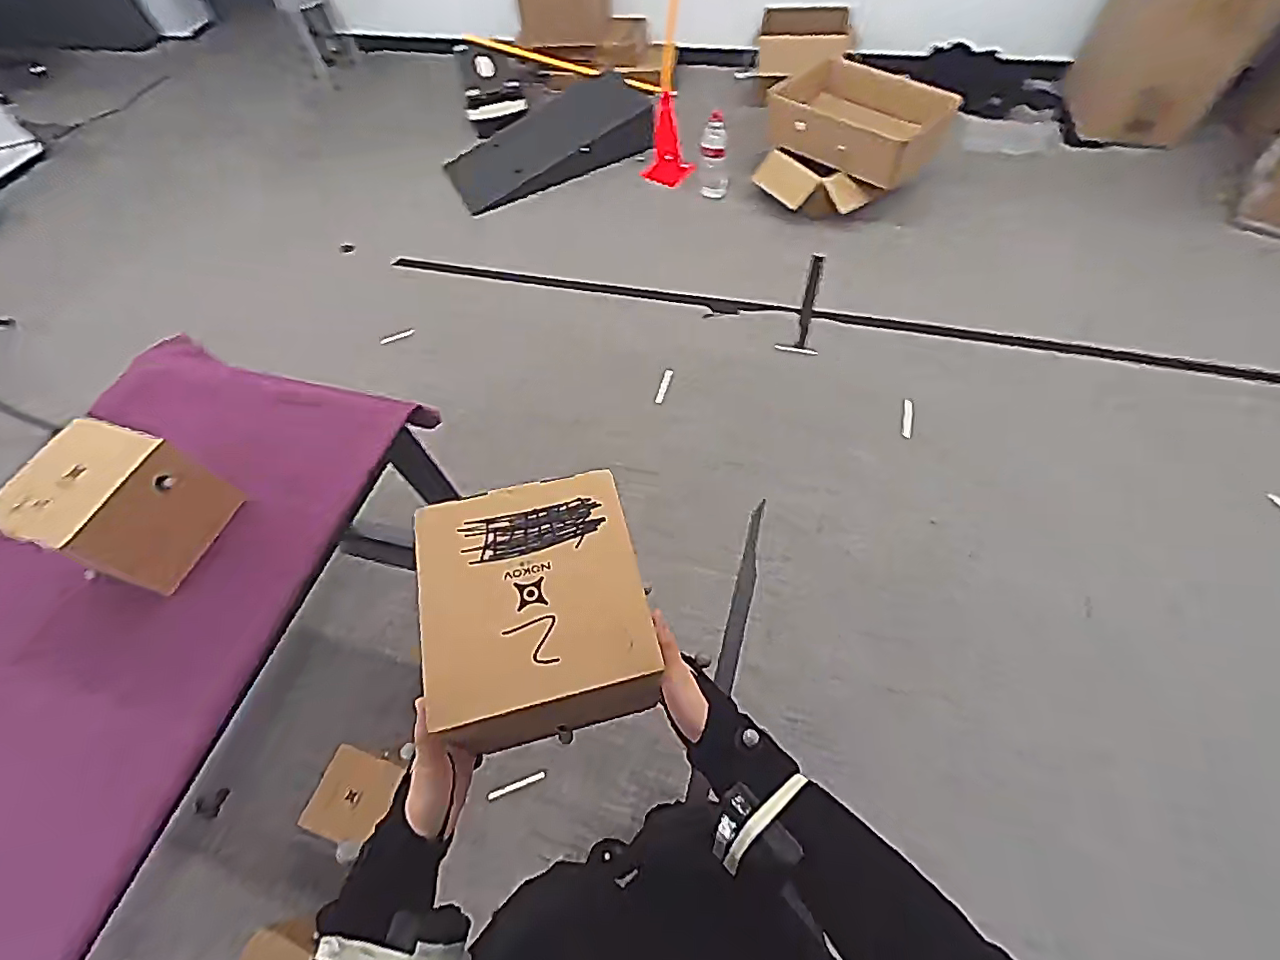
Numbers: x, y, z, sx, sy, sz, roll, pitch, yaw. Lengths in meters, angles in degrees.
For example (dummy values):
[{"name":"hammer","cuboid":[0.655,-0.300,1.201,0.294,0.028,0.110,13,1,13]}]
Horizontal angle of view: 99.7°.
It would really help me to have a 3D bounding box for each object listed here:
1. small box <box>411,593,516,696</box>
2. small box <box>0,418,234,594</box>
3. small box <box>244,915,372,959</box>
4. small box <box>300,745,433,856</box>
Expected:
[{"name":"small box","cuboid":[-0.437,0.425,1.383,0.168,0.176,0.179,28,67,19]},{"name":"small box","cuboid":[-0.746,0.041,0.786,0.168,0.176,0.179,13,62,13]},{"name":"small box","cuboid":[-0.672,0.992,1.063,0.179,0.176,0.168,12,61,13]},{"name":"small box","cuboid":[-0.604,0.719,1.223,0.179,0.176,0.168,13,61,14]}]
